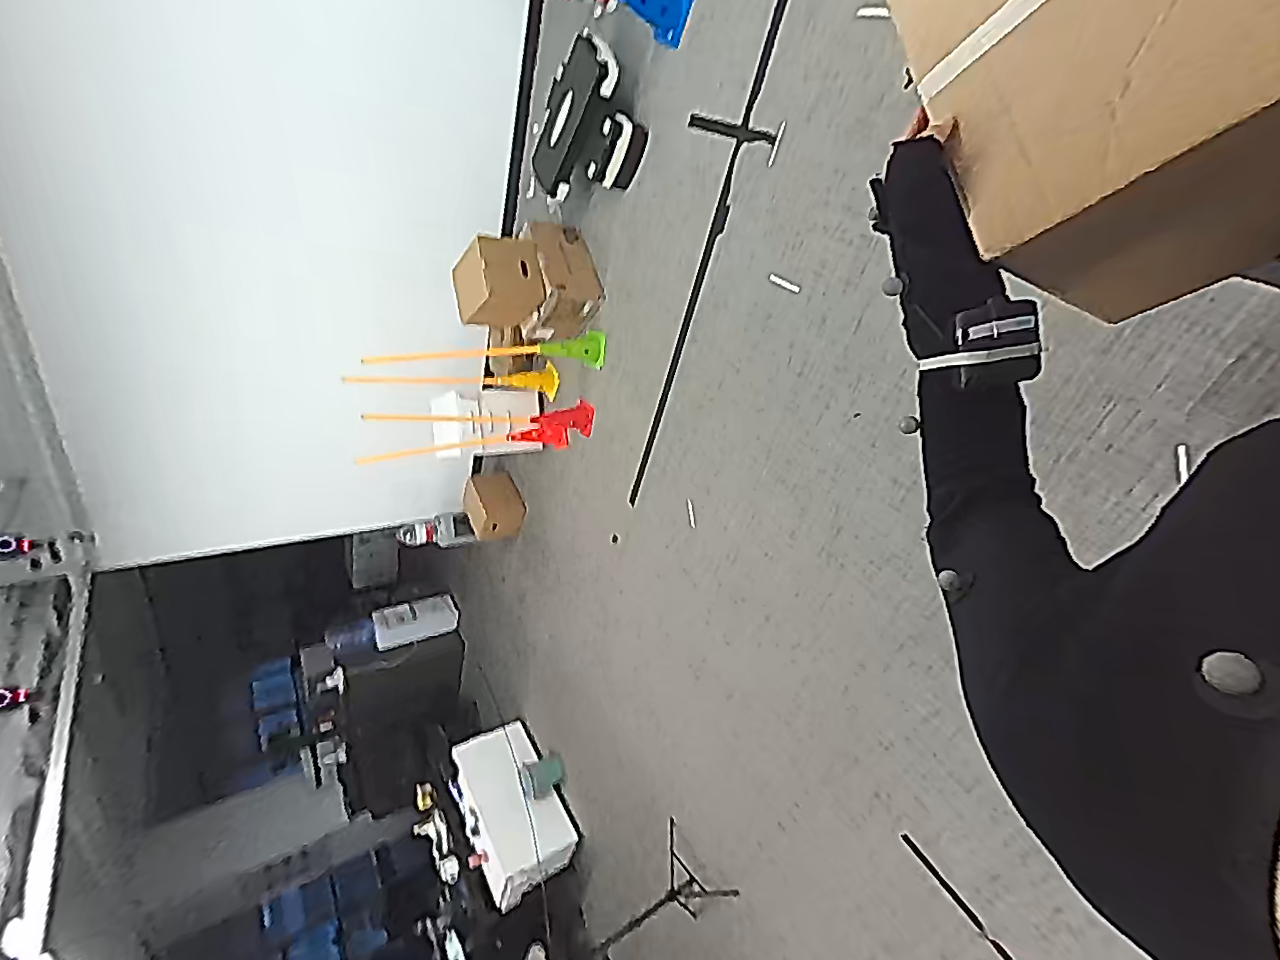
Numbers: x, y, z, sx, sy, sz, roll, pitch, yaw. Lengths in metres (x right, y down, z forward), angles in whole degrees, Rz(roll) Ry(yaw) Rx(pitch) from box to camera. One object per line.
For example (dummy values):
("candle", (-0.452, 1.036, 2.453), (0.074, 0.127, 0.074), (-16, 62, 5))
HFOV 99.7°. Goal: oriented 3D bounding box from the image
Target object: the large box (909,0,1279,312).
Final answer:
("large box", (0.476, -0.376, 0.374), (0.408, 0.320, 0.320), (-26, 70, 52))
